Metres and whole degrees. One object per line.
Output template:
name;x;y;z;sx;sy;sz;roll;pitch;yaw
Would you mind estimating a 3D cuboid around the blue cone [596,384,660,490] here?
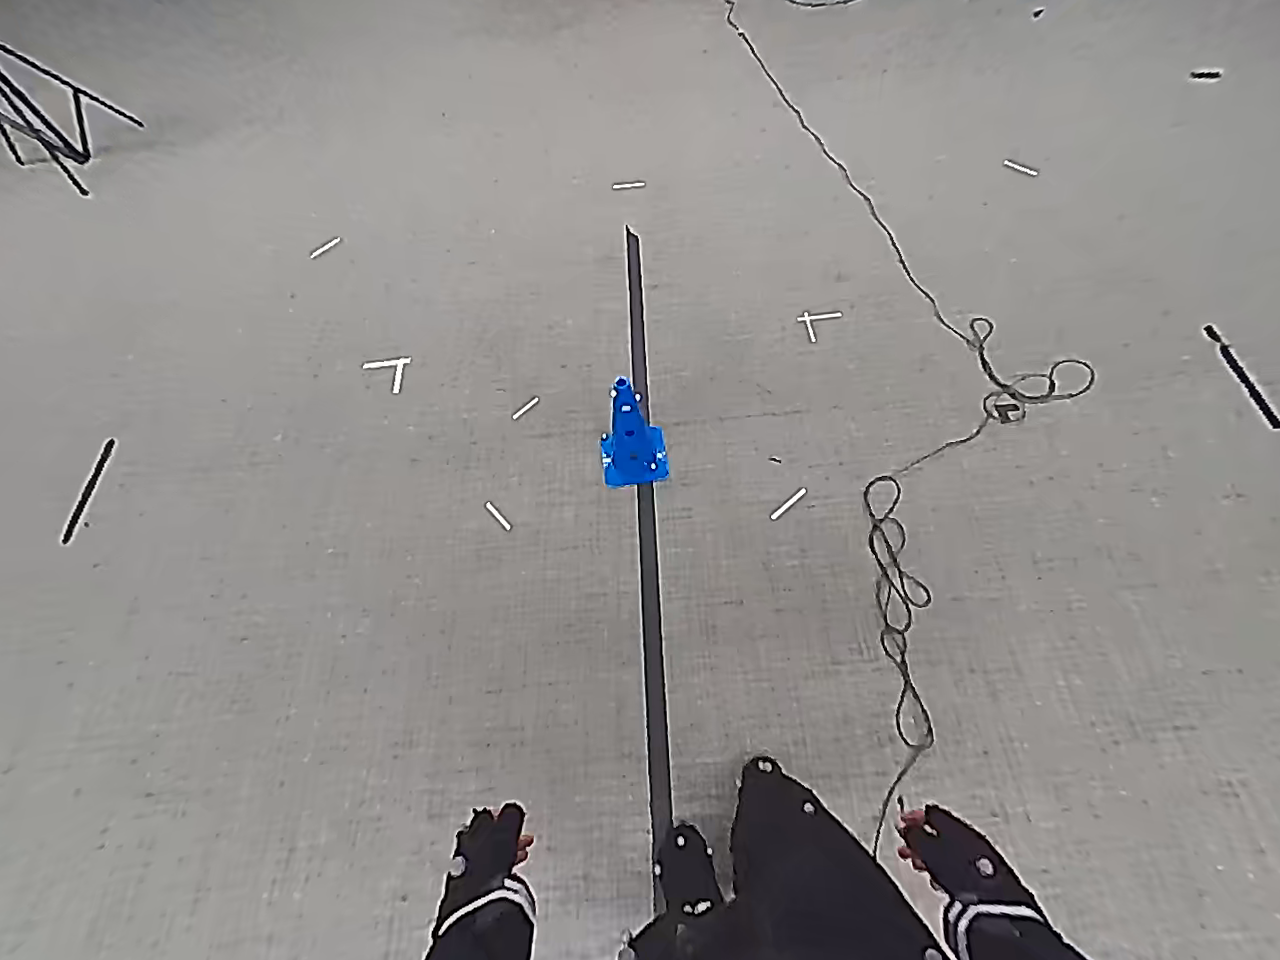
blue cone;-0.052;-0.144;1.542;0.192;0.380;0.193;-8;60;1
